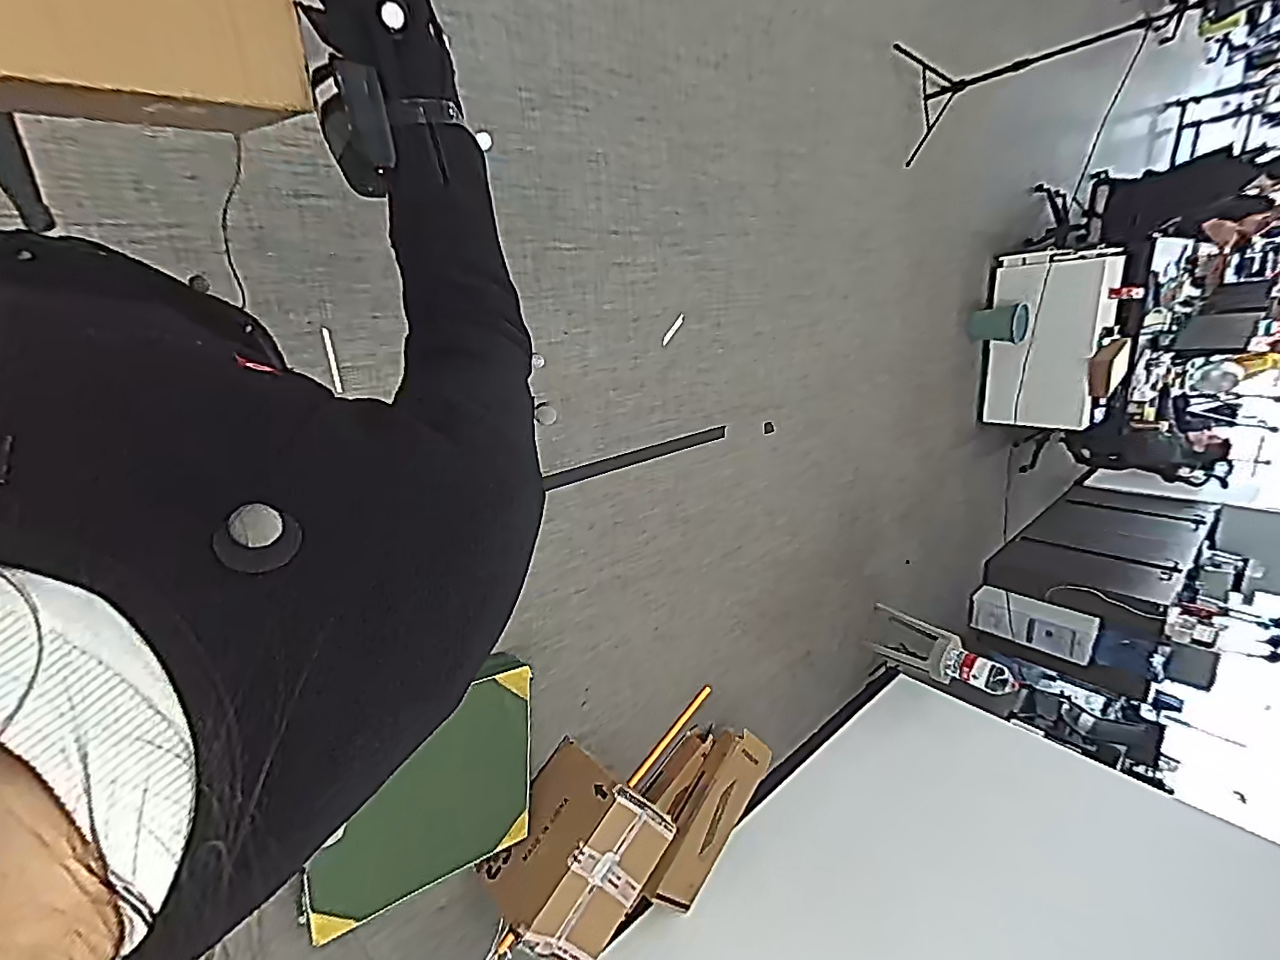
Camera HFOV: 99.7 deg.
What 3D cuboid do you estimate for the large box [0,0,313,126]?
[{"bbox_3d":[-0.456,-0.380,0.267,0.408,0.320,0.320,-20,127,-36],"label":"large box"}]
